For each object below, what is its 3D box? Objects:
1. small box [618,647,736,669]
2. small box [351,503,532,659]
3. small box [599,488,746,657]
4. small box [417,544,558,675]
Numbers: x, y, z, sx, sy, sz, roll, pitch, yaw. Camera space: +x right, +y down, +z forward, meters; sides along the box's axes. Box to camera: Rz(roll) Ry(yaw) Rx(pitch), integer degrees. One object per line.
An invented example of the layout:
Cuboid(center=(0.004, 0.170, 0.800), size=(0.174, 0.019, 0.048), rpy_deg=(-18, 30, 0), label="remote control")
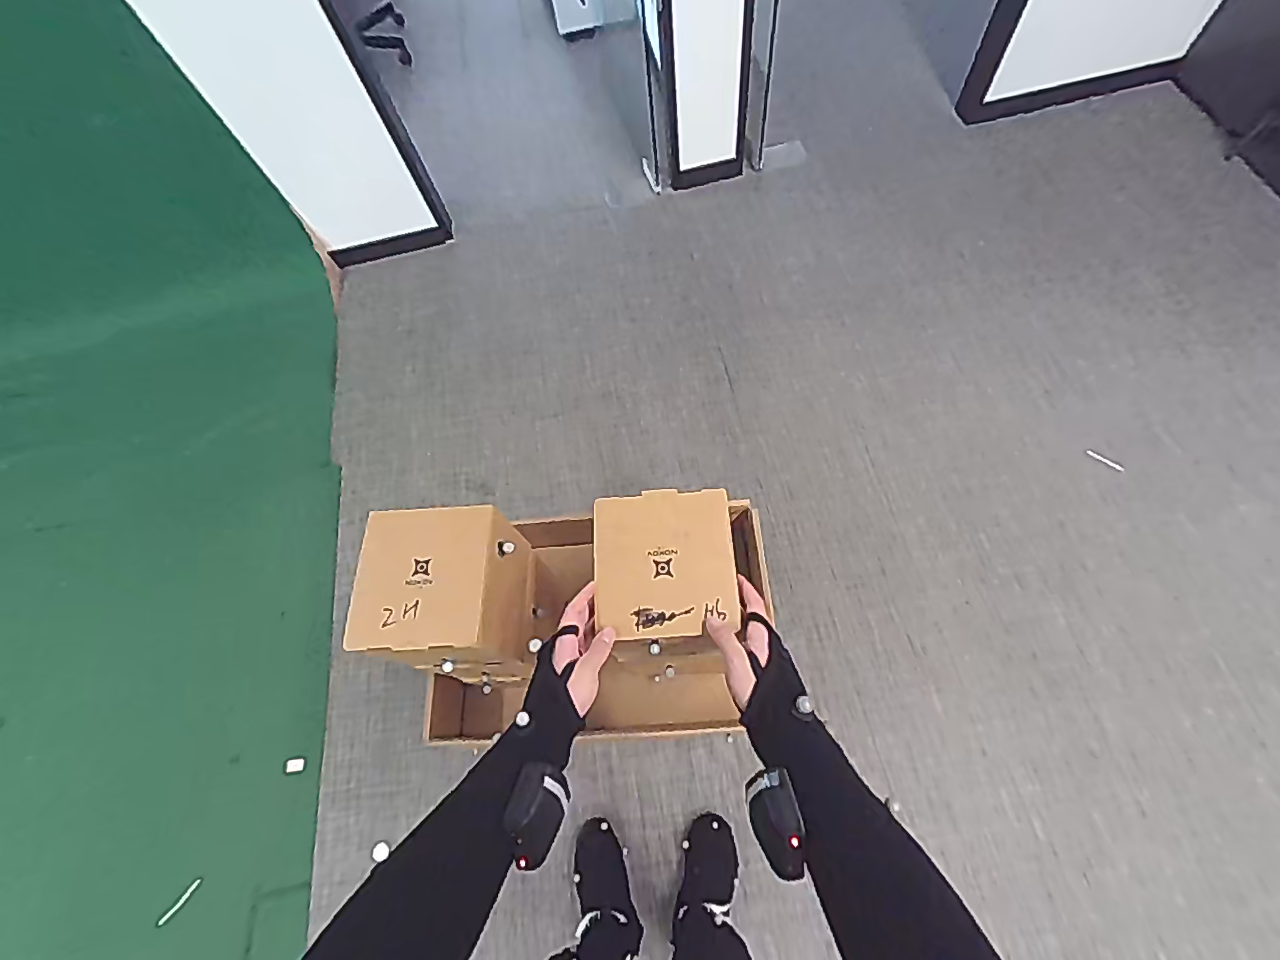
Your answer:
Cuboid(center=(0.058, 0.195, 0.850), size=(0.168, 0.176, 0.179), rpy_deg=(-4, 66, 6), label="small box")
Cuboid(center=(-0.251, 0.143, 0.731), size=(0.168, 0.176, 0.179), rpy_deg=(-4, 67, 6), label="small box")
Cuboid(center=(0.042, 0.127, 0.702), size=(0.168, 0.176, 0.179), rpy_deg=(-5, 65, 6), label="small box")
Cuboid(center=(-0.234, 0.215, 0.877), size=(0.168, 0.176, 0.179), rpy_deg=(-4, 66, 5), label="small box")
